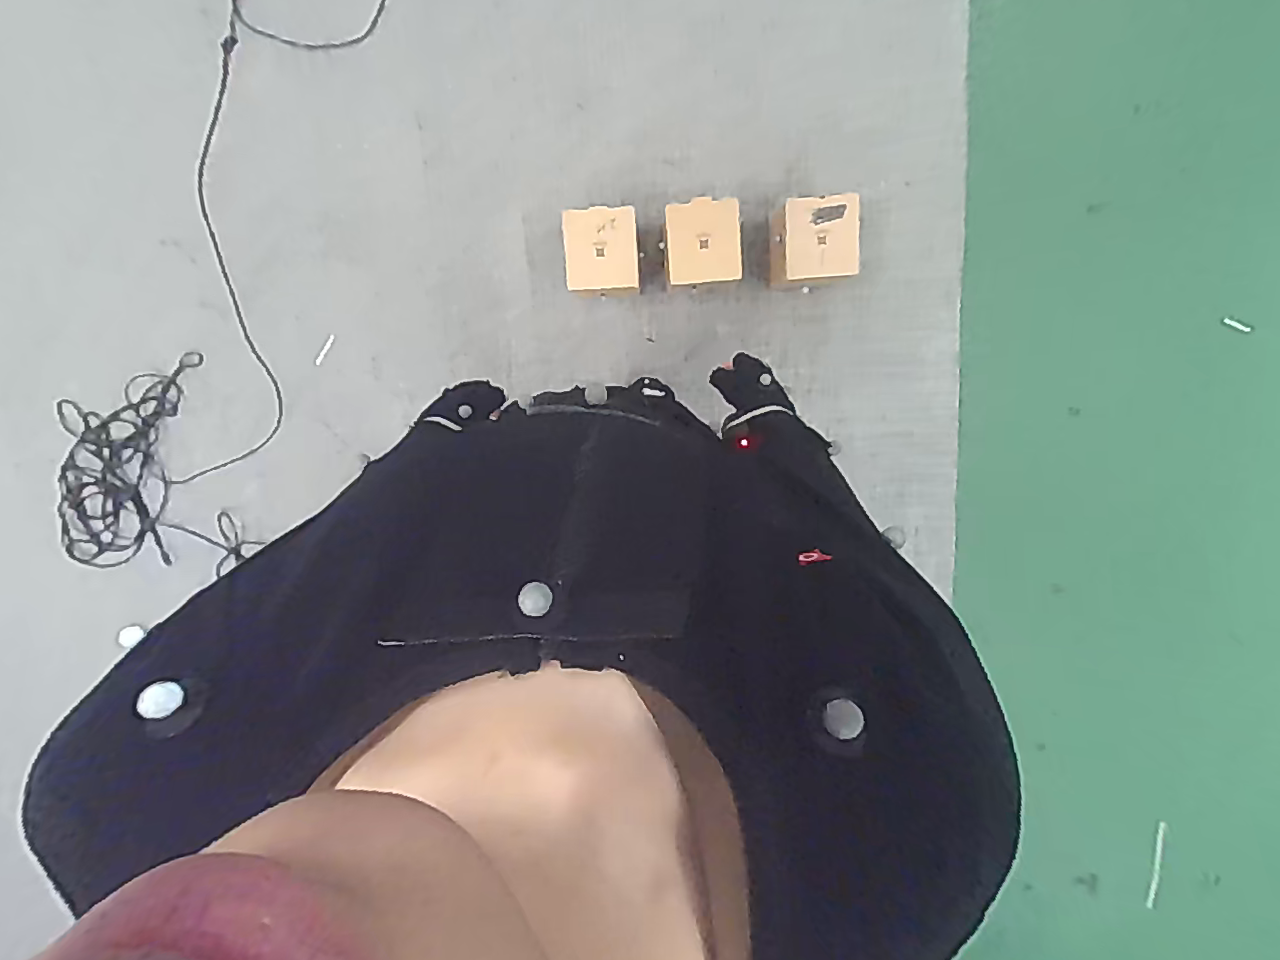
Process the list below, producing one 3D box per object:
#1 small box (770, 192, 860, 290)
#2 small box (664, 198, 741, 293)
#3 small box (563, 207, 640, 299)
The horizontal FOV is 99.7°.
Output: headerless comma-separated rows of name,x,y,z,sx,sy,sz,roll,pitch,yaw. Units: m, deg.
small box,0.409,-0.559,1.284,0.168,0.176,0.179,-4,101,1
small box,0.145,-0.549,1.291,0.168,0.176,0.179,-5,100,1
small box,-0.086,-0.534,1.295,0.168,0.176,0.179,-3,101,1
